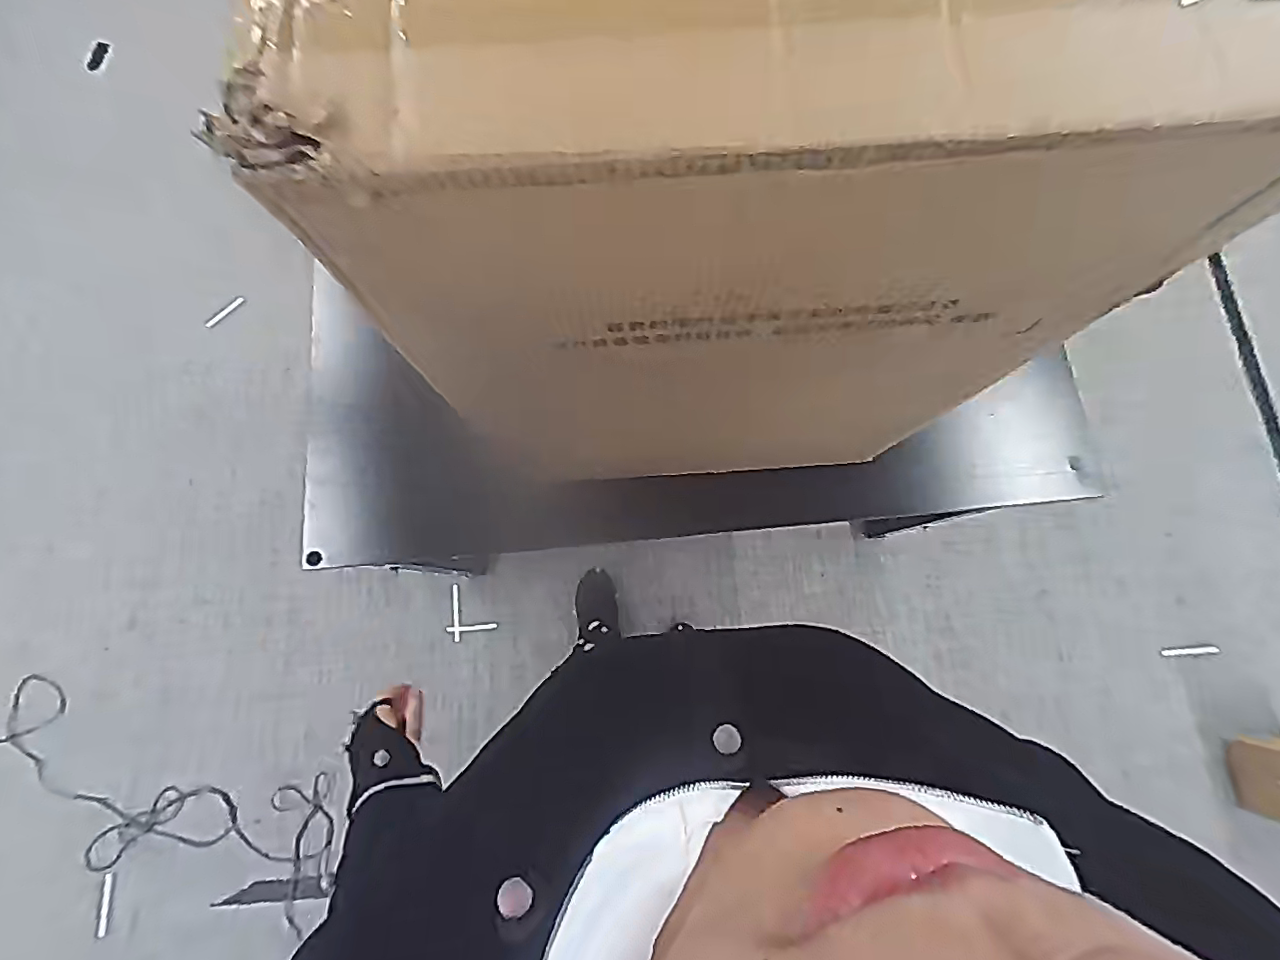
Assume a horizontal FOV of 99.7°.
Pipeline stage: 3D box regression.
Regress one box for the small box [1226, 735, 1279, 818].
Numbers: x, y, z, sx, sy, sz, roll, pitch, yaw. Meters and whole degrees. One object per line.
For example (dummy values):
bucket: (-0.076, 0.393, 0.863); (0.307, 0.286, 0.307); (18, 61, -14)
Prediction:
small box: (1.617, 0.738, 1.331); (0.168, 0.176, 0.179); (-1, 79, 0)
